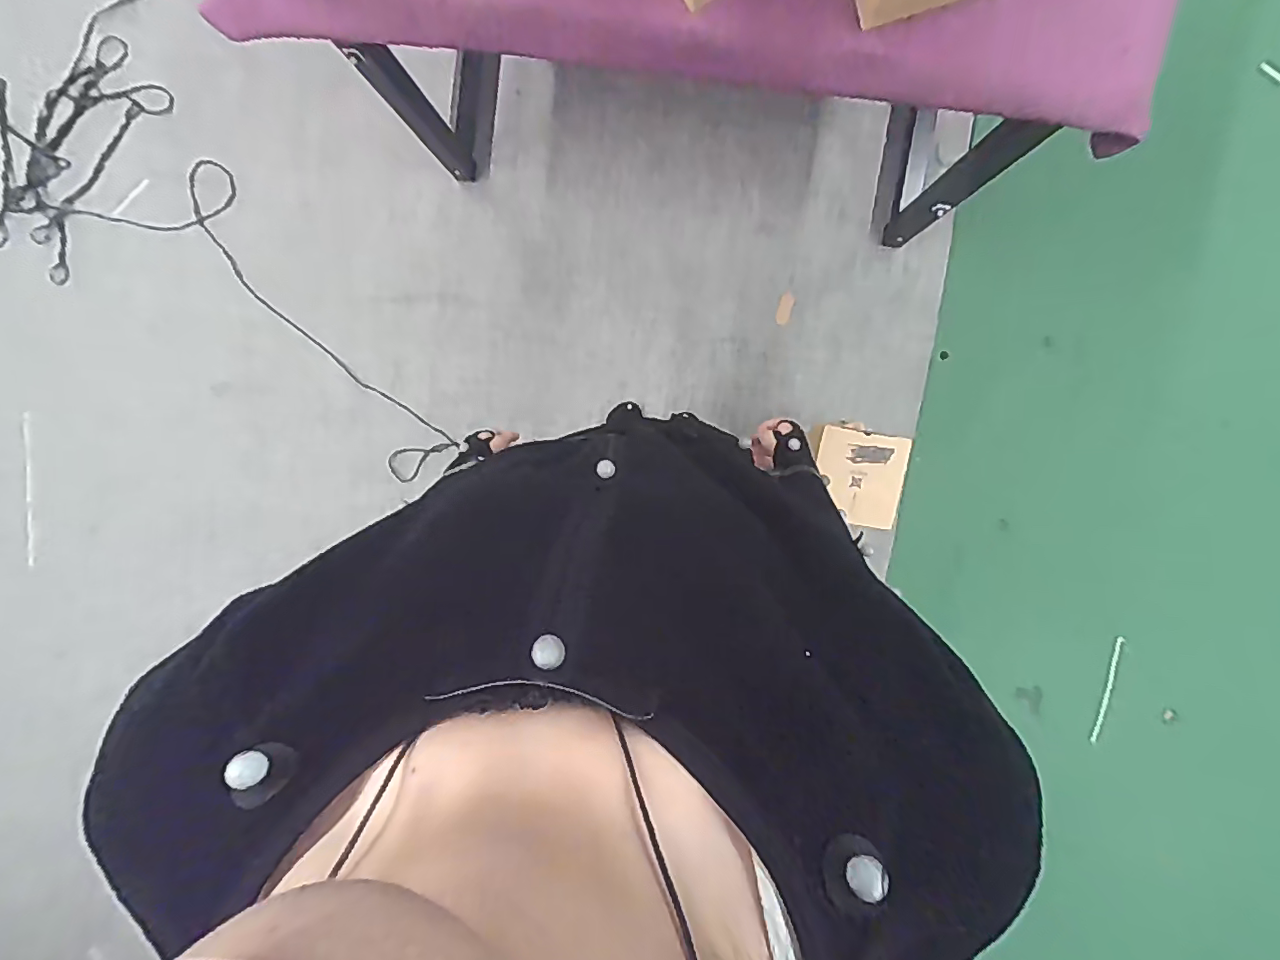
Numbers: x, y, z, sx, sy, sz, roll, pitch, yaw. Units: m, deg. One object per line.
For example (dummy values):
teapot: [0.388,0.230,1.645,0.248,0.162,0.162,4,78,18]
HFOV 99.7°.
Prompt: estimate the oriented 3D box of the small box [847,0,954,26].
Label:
small box: [0.336,-0.668,0.602,0.179,0.176,0.168,-15,93,4]

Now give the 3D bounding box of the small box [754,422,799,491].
small box: [0.410,-0.046,1.403,0.179,0.176,0.168,19,97,0]

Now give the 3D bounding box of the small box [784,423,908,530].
small box: [0.397,-0.016,1.076,0.168,0.176,0.179,10,98,1]
